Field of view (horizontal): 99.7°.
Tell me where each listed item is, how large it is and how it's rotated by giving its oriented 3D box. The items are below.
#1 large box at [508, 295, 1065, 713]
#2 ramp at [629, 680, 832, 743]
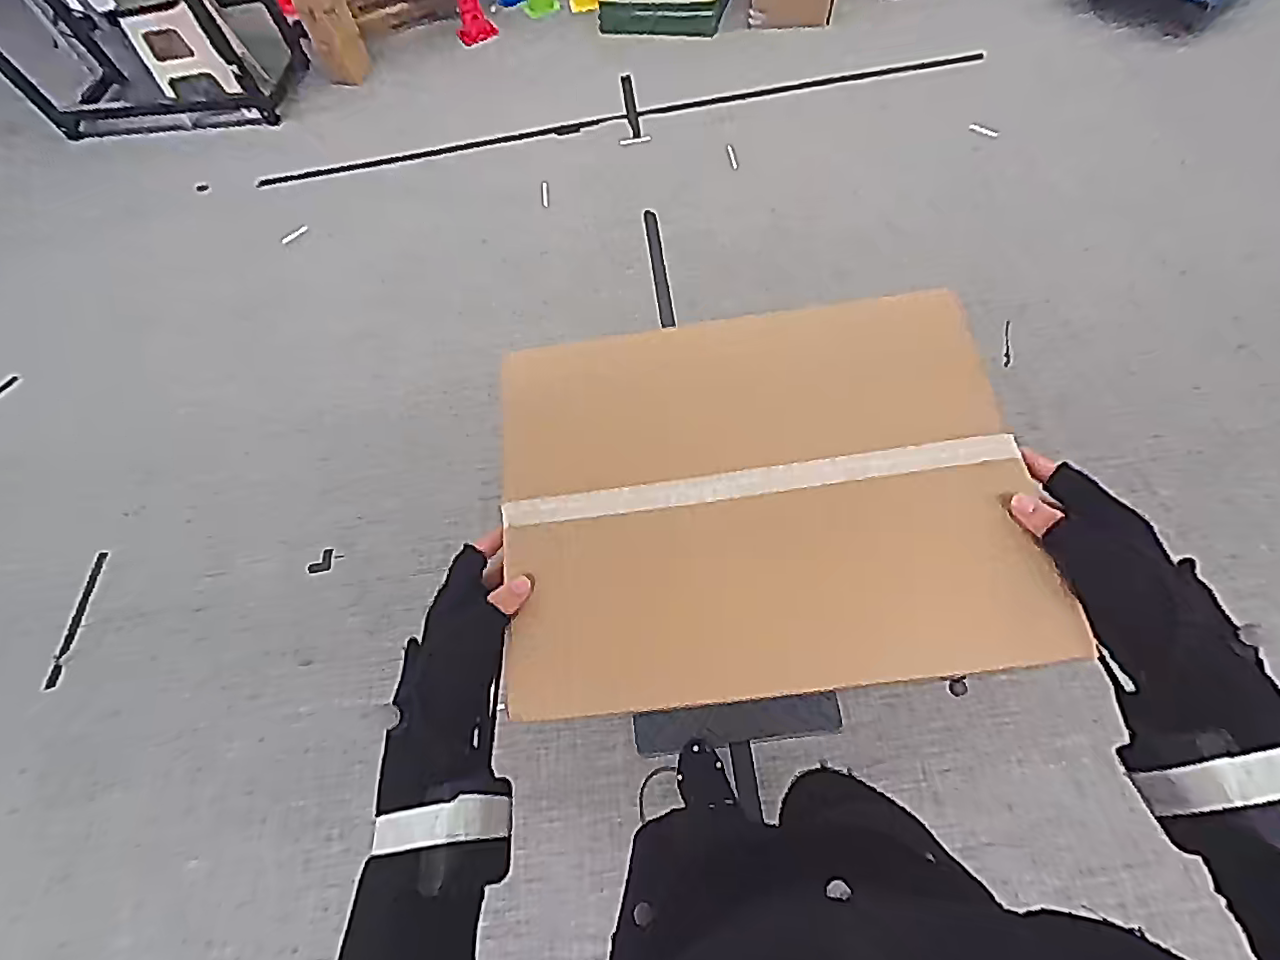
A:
[{"bbox_3d":[0.104,0.051,0.578,0.408,0.320,0.320,-7,69,2],"label":"large box"},{"bbox_3d":[0.163,0.128,1.438,0.509,0.206,0.991,-9,63,-1],"label":"ramp"}]
